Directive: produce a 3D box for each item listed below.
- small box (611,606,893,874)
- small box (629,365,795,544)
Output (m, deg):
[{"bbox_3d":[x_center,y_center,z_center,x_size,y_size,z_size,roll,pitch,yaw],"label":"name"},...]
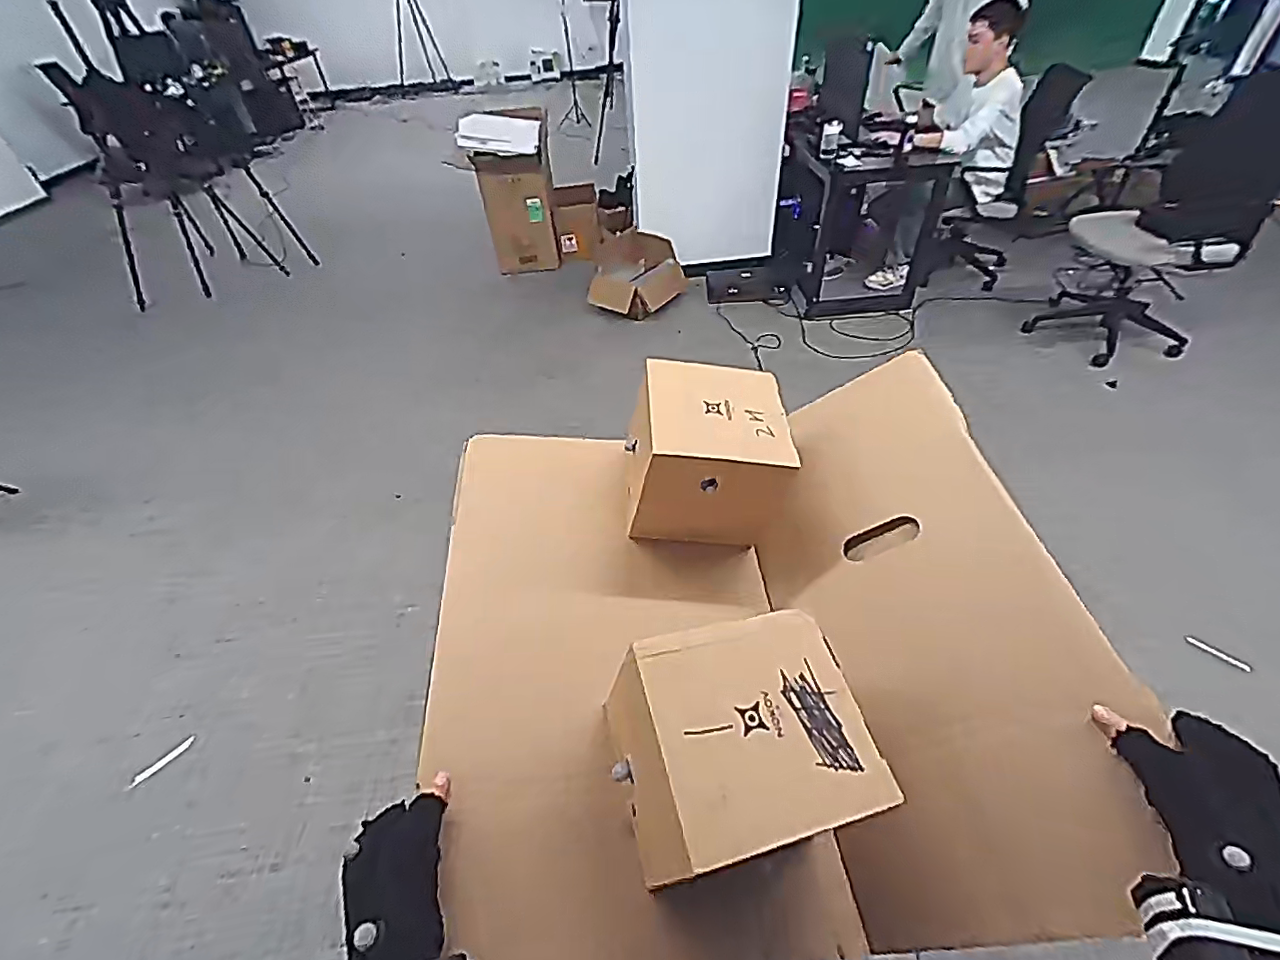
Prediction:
[{"bbox_3d":[0.082,0.239,0.500,0.179,0.176,0.168,-7,52,-17],"label":"small box"},{"bbox_3d":[0.080,-0.029,0.723,0.179,0.176,0.168,6,50,-9],"label":"small box"}]
